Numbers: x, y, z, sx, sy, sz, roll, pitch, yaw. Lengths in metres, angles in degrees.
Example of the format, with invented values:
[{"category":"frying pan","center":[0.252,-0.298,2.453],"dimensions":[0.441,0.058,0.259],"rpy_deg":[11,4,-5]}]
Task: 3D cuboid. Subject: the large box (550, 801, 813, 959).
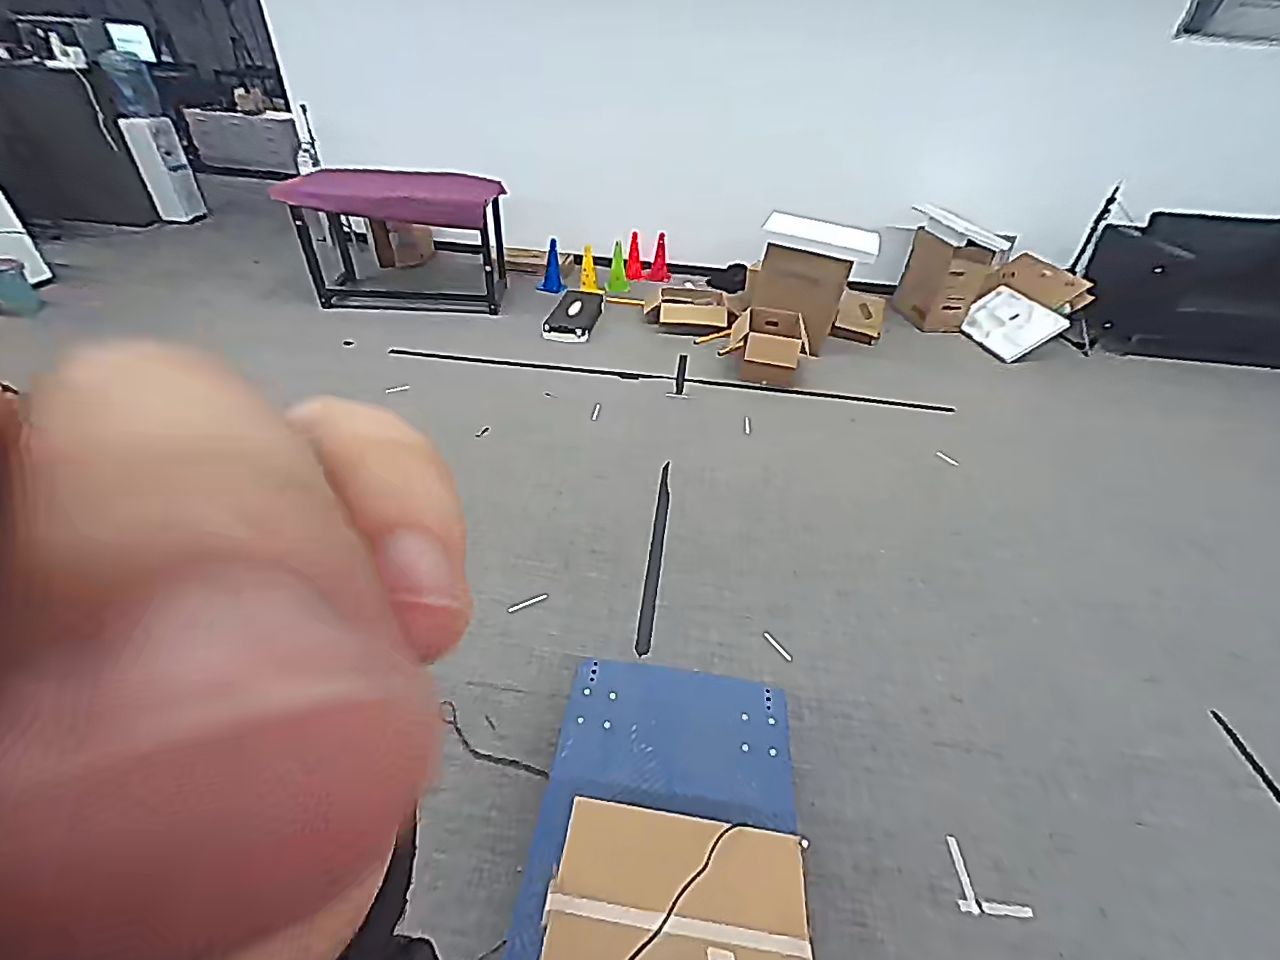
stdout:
[{"category":"large box","center":[0.057,0.811,0.939],"dimensions":[0.408,0.320,0.320],"rpy_deg":[8,40,3]}]
